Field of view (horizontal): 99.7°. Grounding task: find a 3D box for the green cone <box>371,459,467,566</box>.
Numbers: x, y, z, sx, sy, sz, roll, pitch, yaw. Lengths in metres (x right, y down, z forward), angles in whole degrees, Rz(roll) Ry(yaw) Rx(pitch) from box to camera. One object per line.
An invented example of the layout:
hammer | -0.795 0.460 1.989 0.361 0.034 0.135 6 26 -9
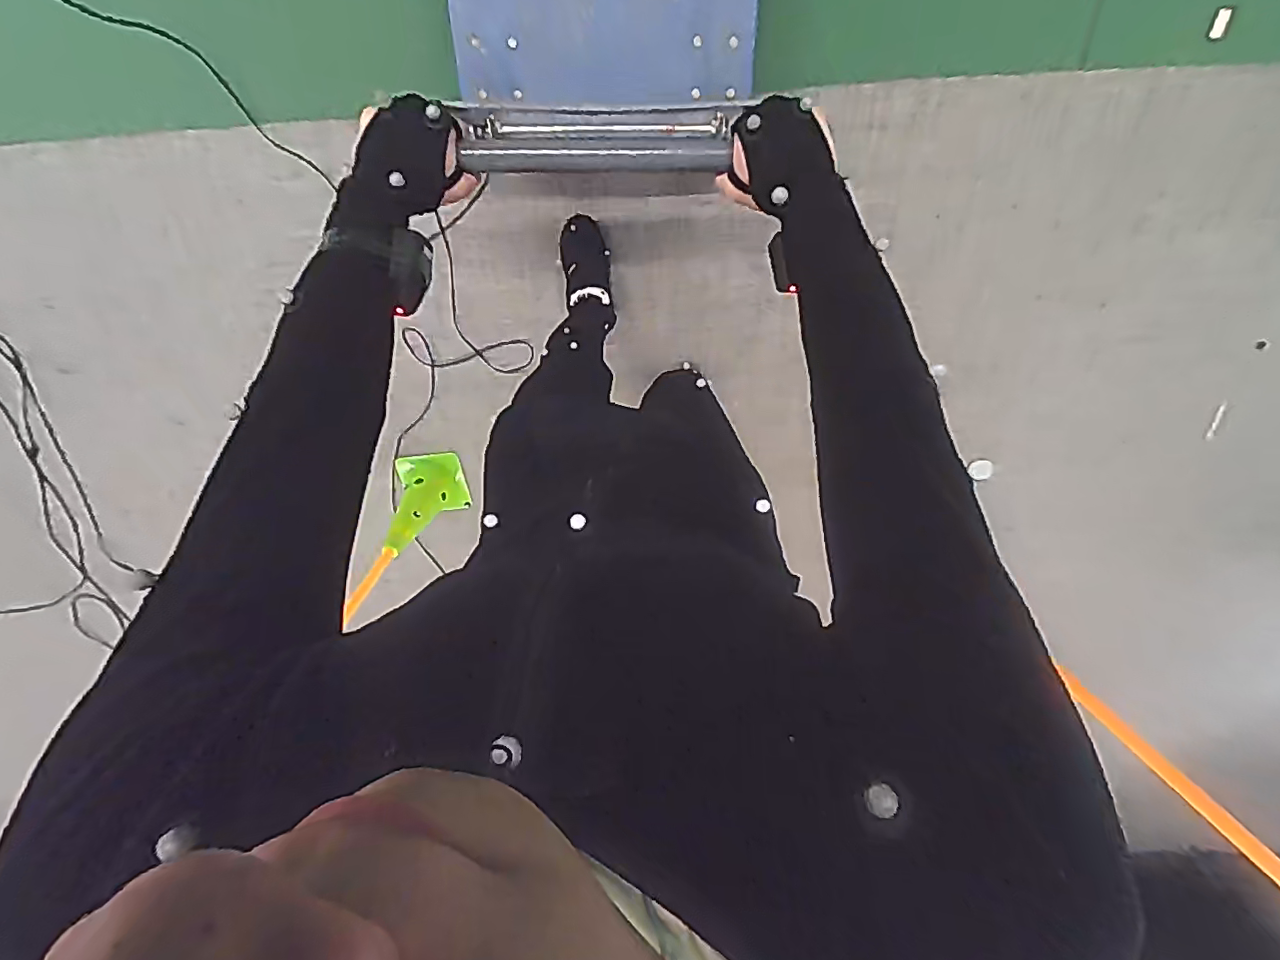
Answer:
green cone | -0.655 0.113 1.524 0.202 0.368 0.200 -6 119 4
